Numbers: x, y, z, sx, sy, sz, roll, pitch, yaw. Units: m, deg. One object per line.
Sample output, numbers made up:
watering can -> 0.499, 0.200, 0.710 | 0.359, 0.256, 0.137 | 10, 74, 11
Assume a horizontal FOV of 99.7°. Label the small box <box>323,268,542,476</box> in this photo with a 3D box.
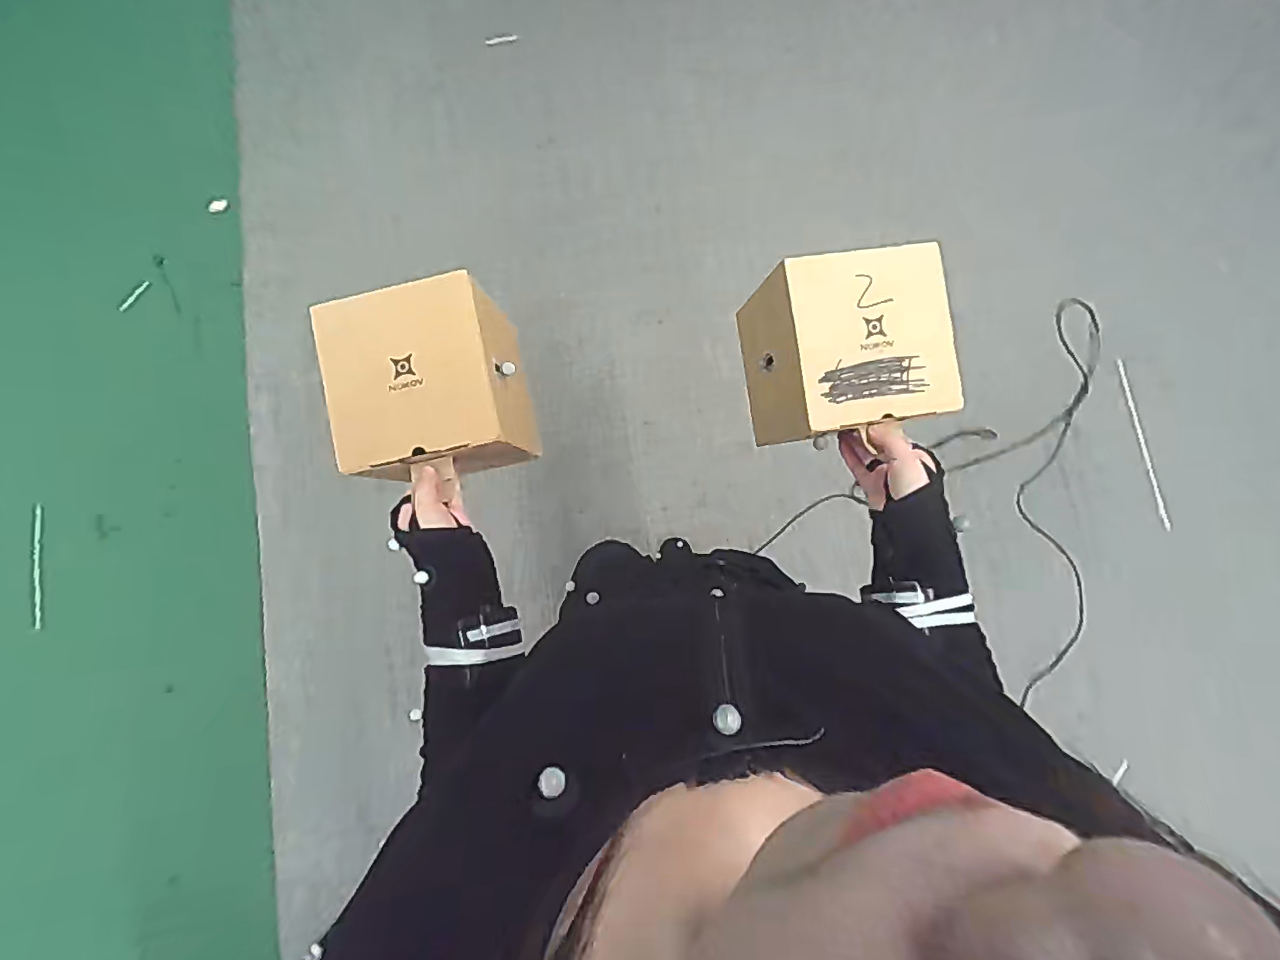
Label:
small box -> -0.218, -0.107, 0.607 | 0.168, 0.176, 0.179 | -10, 87, 2
